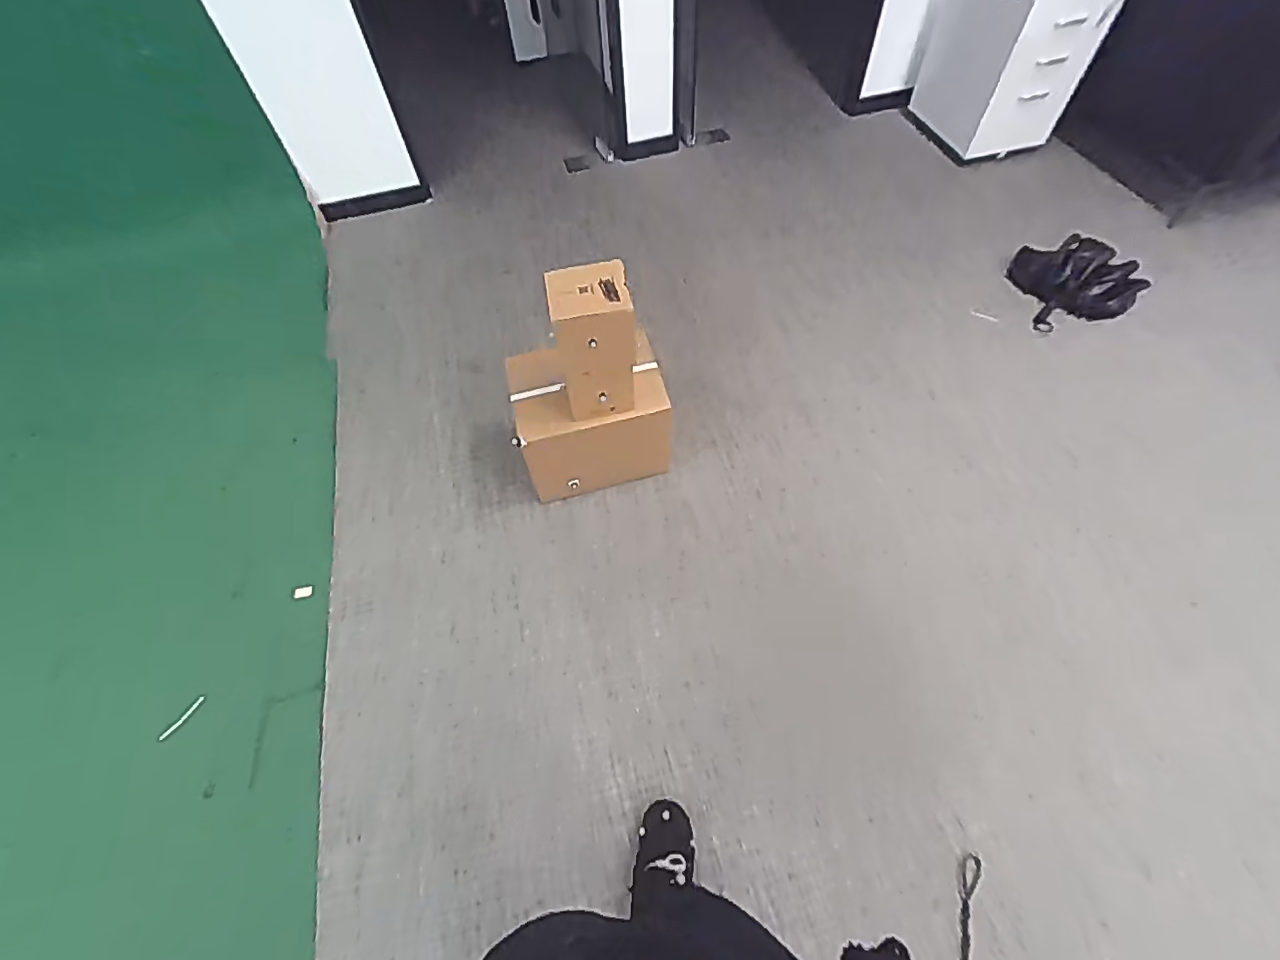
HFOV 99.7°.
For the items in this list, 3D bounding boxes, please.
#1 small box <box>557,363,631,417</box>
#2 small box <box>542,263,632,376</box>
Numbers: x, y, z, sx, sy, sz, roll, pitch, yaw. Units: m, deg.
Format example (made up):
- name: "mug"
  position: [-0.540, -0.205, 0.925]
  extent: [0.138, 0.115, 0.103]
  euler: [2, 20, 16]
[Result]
- name: "small box"
  position: [-0.120, -0.277, 1.365]
  extent: [0.168, 0.176, 0.179]
  euler: [-12, 60, -5]
- name: "small box"
  position: [-0.115, -0.357, 1.220]
  extent: [0.179, 0.176, 0.168]
  euler: [-10, 59, -3]
